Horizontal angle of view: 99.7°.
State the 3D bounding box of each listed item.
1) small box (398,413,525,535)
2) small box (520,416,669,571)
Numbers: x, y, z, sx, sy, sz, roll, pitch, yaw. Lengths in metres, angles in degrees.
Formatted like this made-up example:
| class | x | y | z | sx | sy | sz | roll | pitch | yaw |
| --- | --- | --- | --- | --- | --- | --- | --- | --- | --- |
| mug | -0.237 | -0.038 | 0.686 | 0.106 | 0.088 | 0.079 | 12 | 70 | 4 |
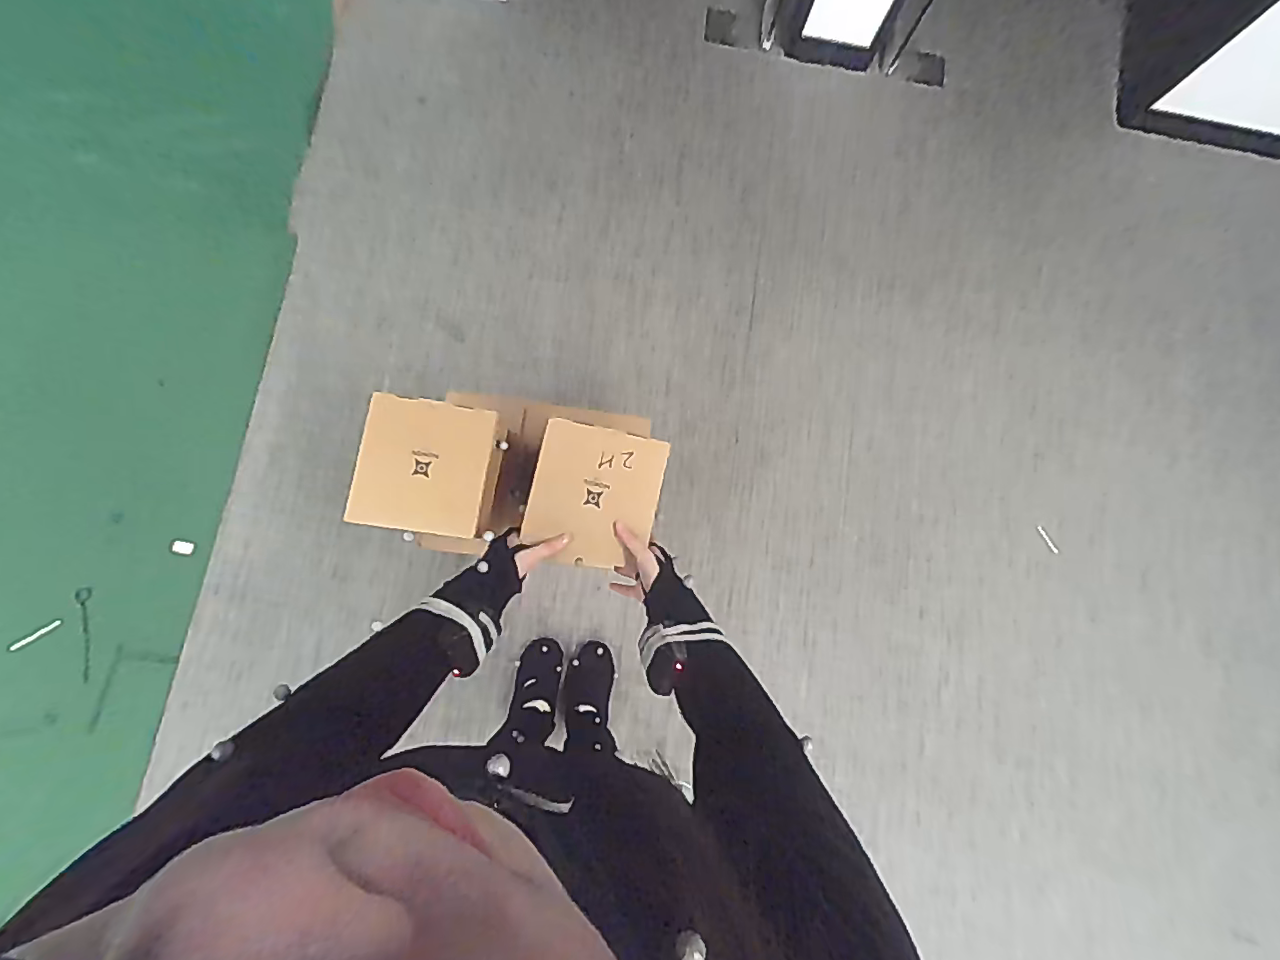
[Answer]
| class | x | y | z | sx | sy | sz | roll | pitch | yaw |
| --- | --- | --- | --- | --- | --- | --- | --- | --- | --- |
| small box | -0.304 | -0.002 | 0.961 | 0.168 | 0.176 | 0.179 | 10 | 83 | -5 |
| small box | -0.061 | 0.025 | 0.793 | 0.168 | 0.176 | 0.179 | 14 | 83 | -1 |
